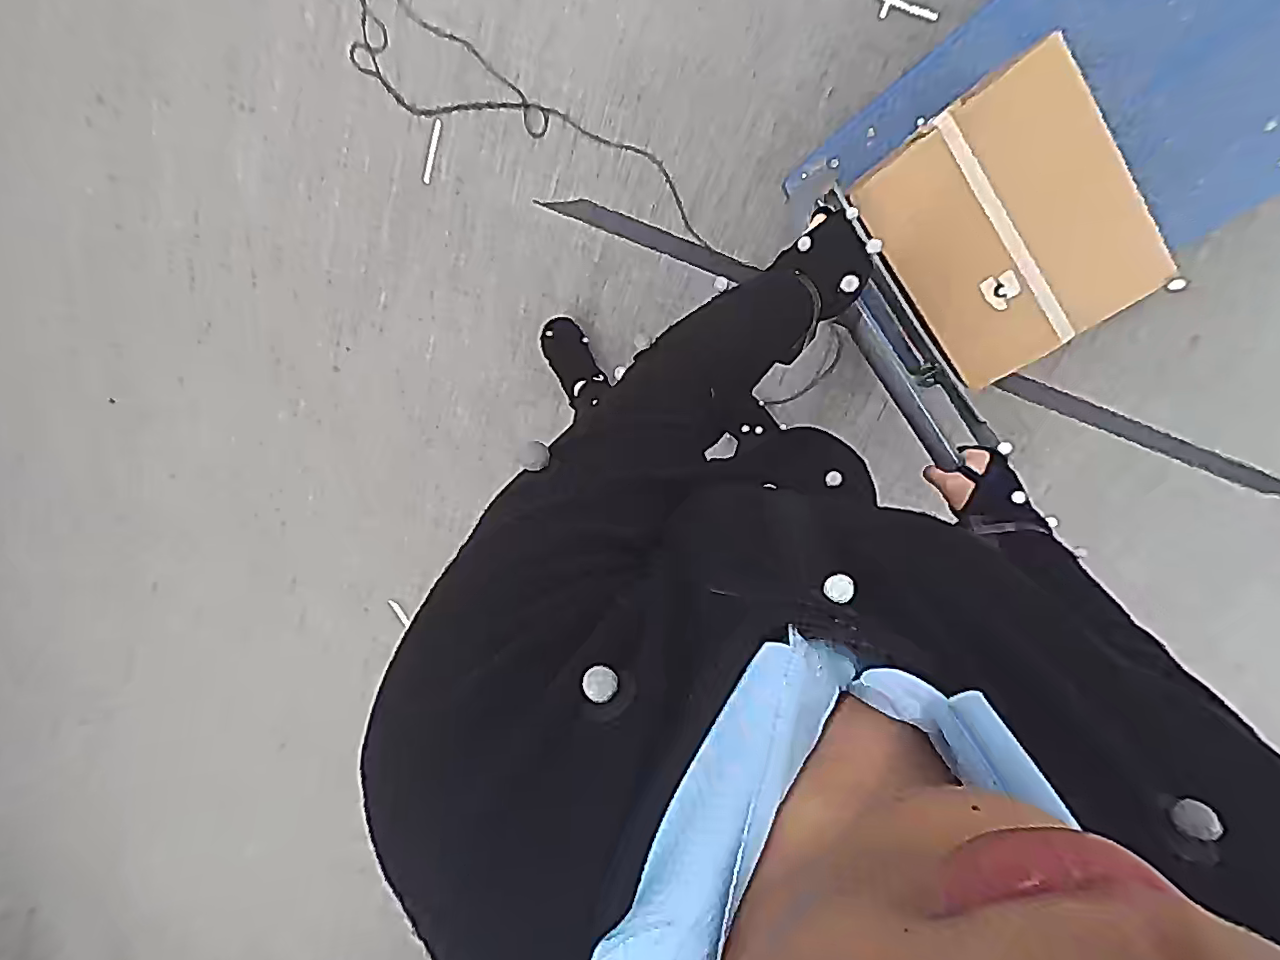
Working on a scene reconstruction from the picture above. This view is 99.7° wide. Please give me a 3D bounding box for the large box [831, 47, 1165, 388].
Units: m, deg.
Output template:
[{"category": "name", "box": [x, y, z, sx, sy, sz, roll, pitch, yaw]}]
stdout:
[{"category": "large box", "box": [0.603, -0.449, 0.985, 0.320, 0.320, 0.408, -33, 104, 27]}]
